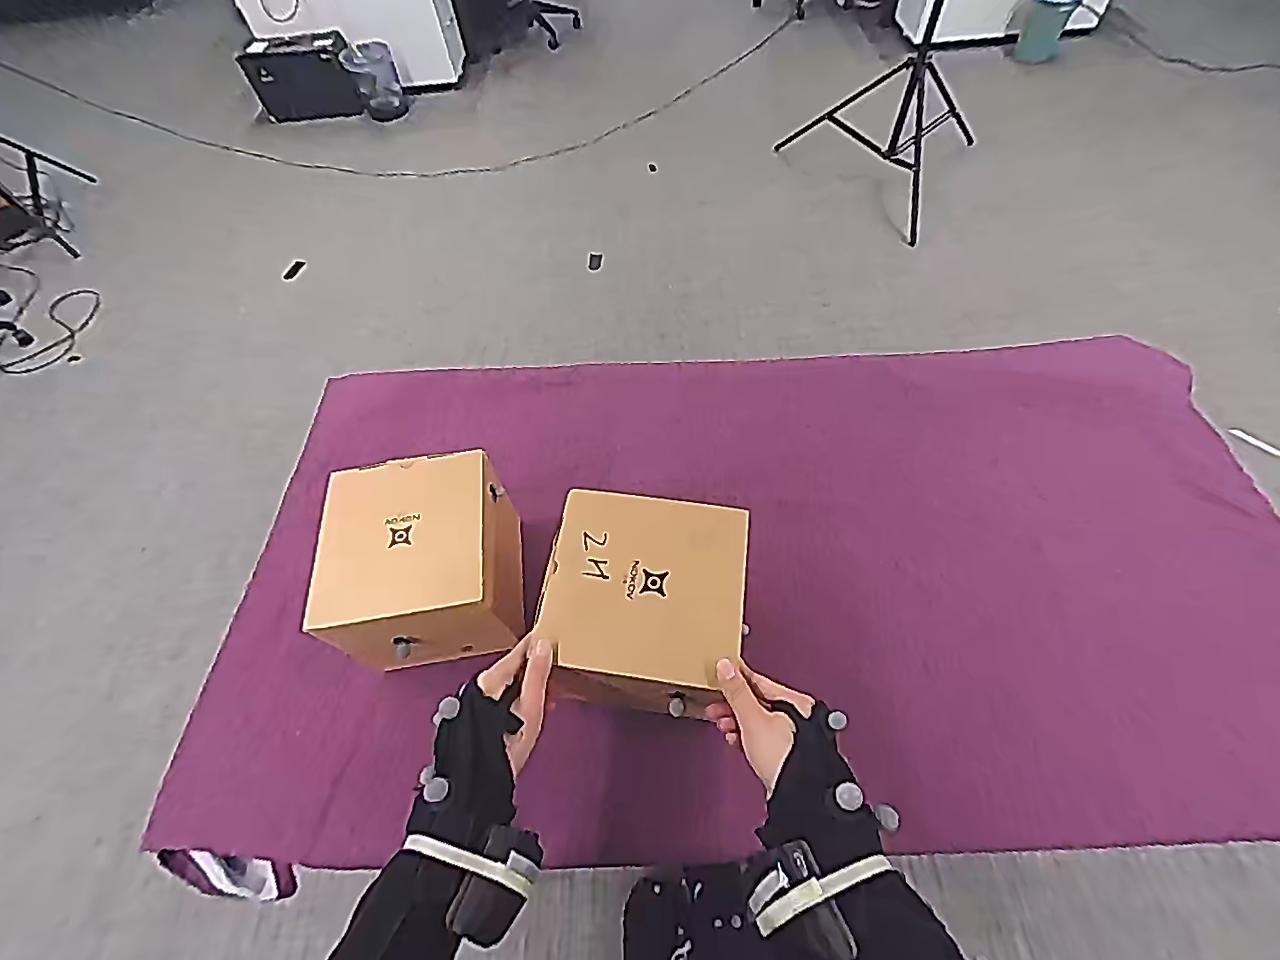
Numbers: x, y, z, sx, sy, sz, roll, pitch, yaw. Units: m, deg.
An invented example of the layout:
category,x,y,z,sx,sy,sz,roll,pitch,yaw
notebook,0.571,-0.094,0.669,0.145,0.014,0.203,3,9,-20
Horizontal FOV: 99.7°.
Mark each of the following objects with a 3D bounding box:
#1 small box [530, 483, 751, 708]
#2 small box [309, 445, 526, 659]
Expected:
category,x,y,z,sx,sy,sz,roll,pitch,yaw
small box,0.009,0.123,0.545,0.179,0.176,0.168,6,59,6
small box,-0.230,0.090,0.606,0.168,0.176,0.179,-10,57,-2
